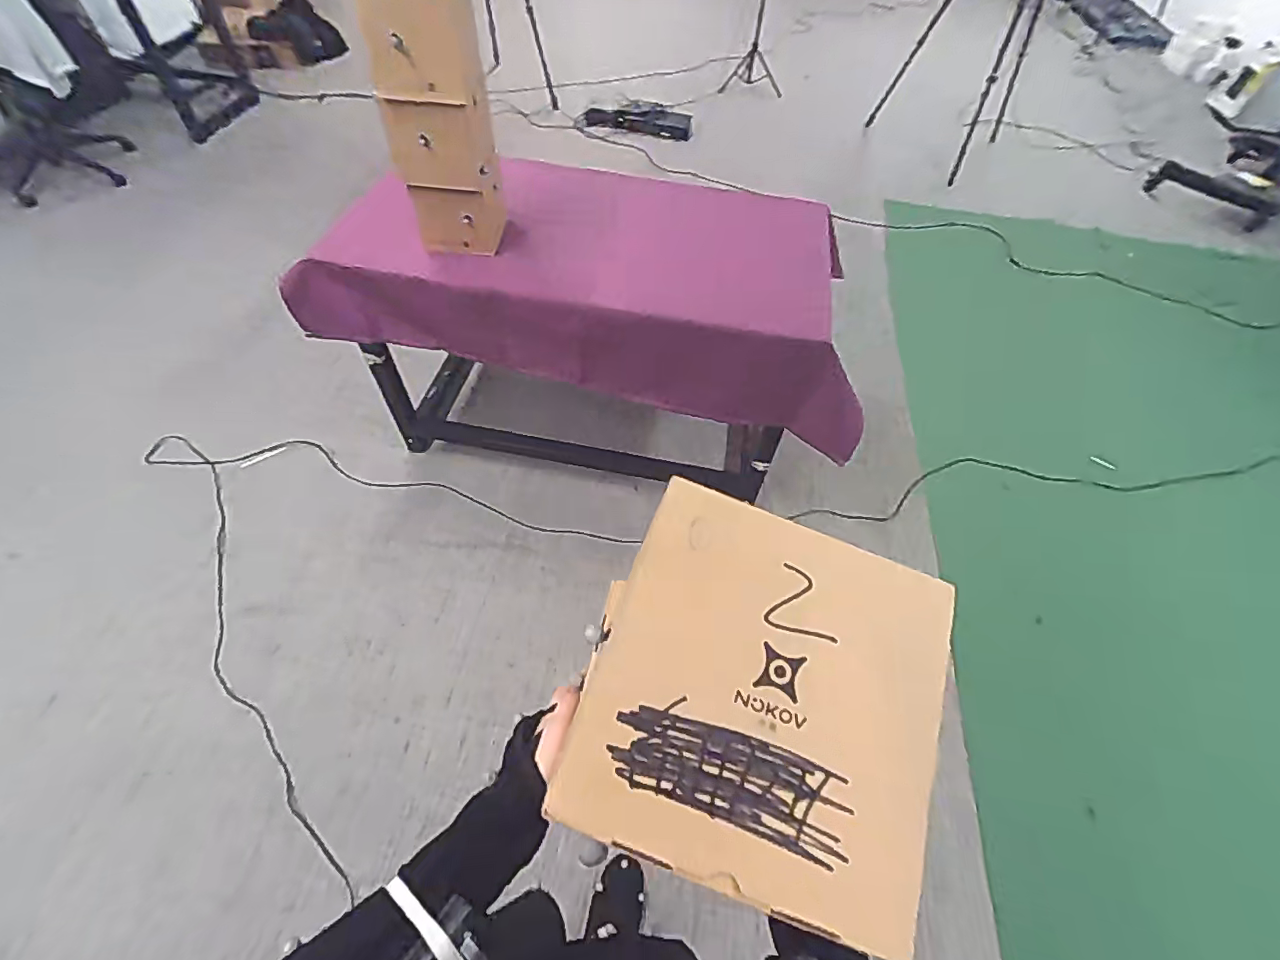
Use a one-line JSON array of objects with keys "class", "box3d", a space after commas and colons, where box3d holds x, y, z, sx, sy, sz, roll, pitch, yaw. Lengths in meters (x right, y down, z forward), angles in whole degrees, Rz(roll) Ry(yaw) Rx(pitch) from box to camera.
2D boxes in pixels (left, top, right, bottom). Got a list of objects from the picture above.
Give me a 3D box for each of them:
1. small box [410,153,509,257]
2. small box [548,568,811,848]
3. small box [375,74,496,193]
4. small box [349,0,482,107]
[{"class": "small box", "box3d": [-0.412, -0.647, 1.271, 0.168, 0.176, 0.179, 5, 54, -1]}, {"class": "small box", "box3d": [0.030, 0.195, 0.483, 0.179, 0.176, 0.168, 15, 67, 0]}, {"class": "small box", "box3d": [-0.410, -0.722, 1.123, 0.179, 0.176, 0.168, 4, 54, 0]}, {"class": "small box", "box3d": [-0.394, -0.806, 0.984, 0.168, 0.176, 0.179, 2, 54, -3]}]
